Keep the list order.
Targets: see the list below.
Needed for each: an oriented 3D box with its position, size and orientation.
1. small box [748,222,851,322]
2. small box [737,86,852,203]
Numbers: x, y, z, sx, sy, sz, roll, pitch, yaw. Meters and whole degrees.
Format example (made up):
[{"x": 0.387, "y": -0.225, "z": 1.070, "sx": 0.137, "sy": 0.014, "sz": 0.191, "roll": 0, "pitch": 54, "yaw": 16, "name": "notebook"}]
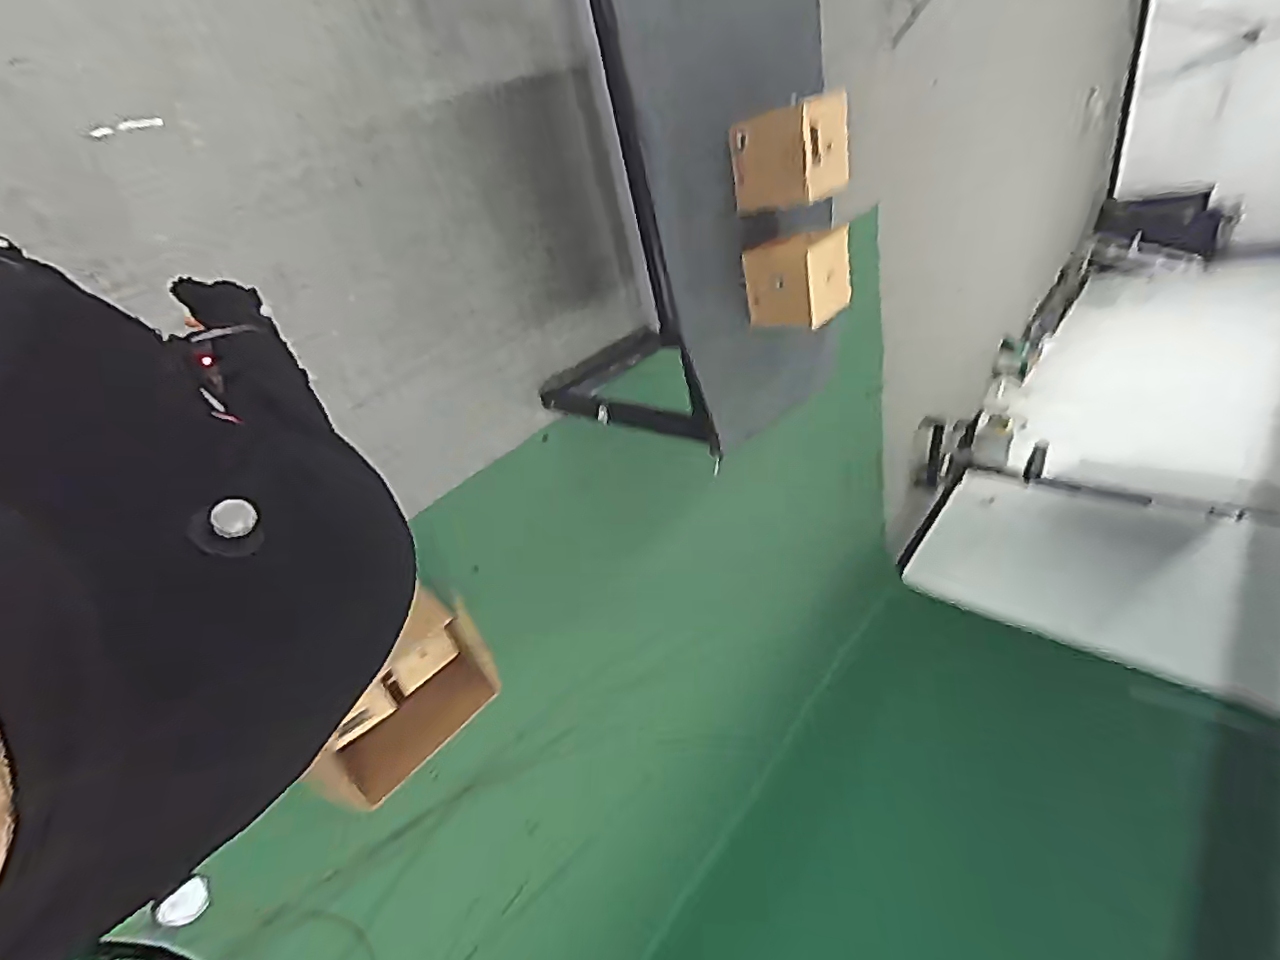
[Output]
[{"x": 0.359, "y": -0.471, "z": 1.231, "sx": 0.179, "sy": 0.176, "sz": 0.168, "roll": -39, "pitch": 129, "yaw": -31, "name": "small box"}, {"x": 0.312, "y": -0.679, "z": 1.105, "sx": 0.179, "sy": 0.176, "sz": 0.168, "roll": -37, "pitch": 128, "yaw": -32, "name": "small box"}]
